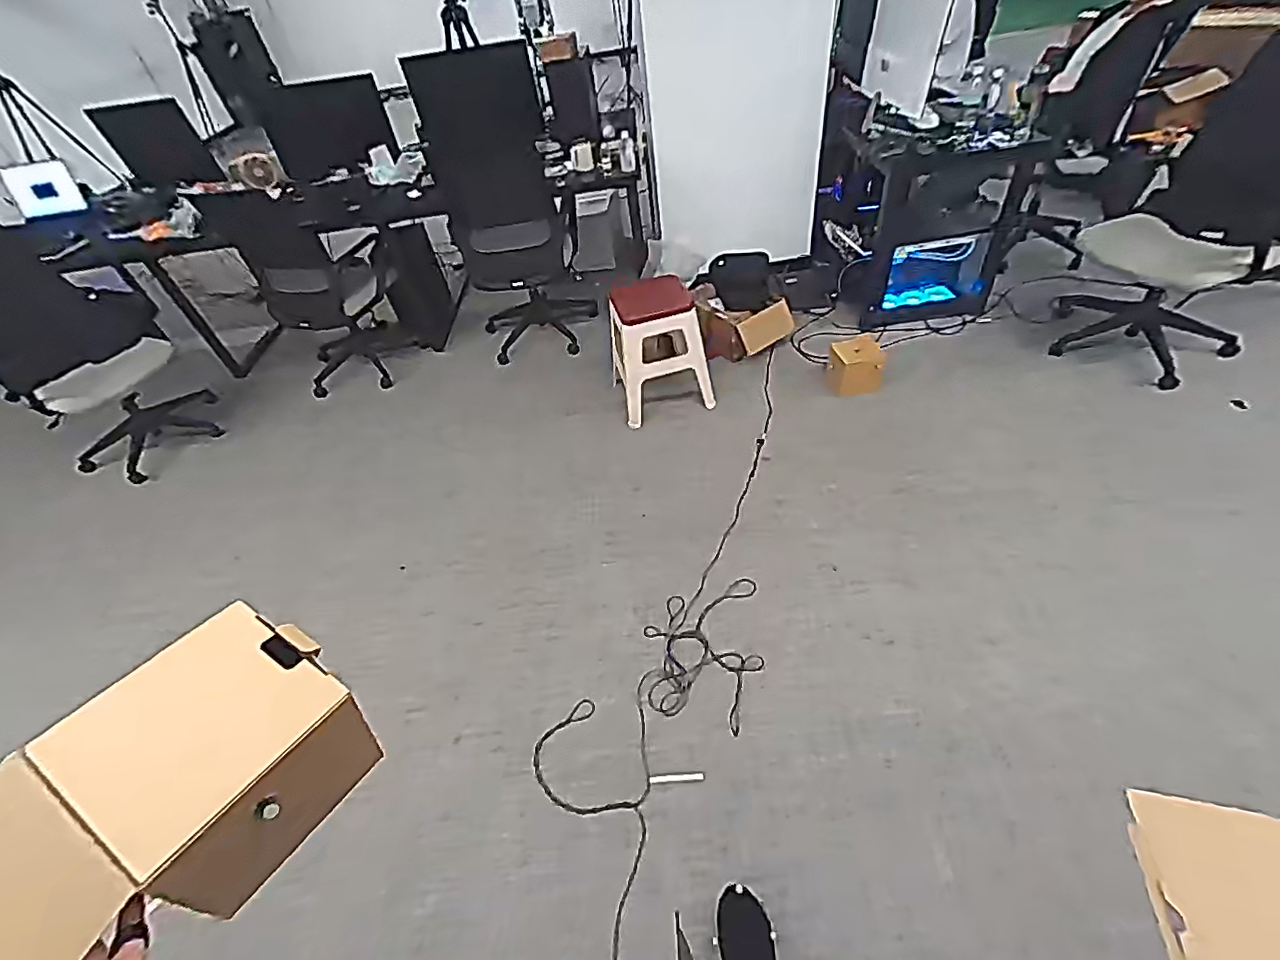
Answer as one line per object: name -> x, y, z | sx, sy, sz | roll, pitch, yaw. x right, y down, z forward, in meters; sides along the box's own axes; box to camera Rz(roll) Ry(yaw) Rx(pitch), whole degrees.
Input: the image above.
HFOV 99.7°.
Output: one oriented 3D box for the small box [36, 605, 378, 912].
small box -> -0.386, 0.265, 0.520 | 0.168, 0.176, 0.179 | 28, 44, 17
